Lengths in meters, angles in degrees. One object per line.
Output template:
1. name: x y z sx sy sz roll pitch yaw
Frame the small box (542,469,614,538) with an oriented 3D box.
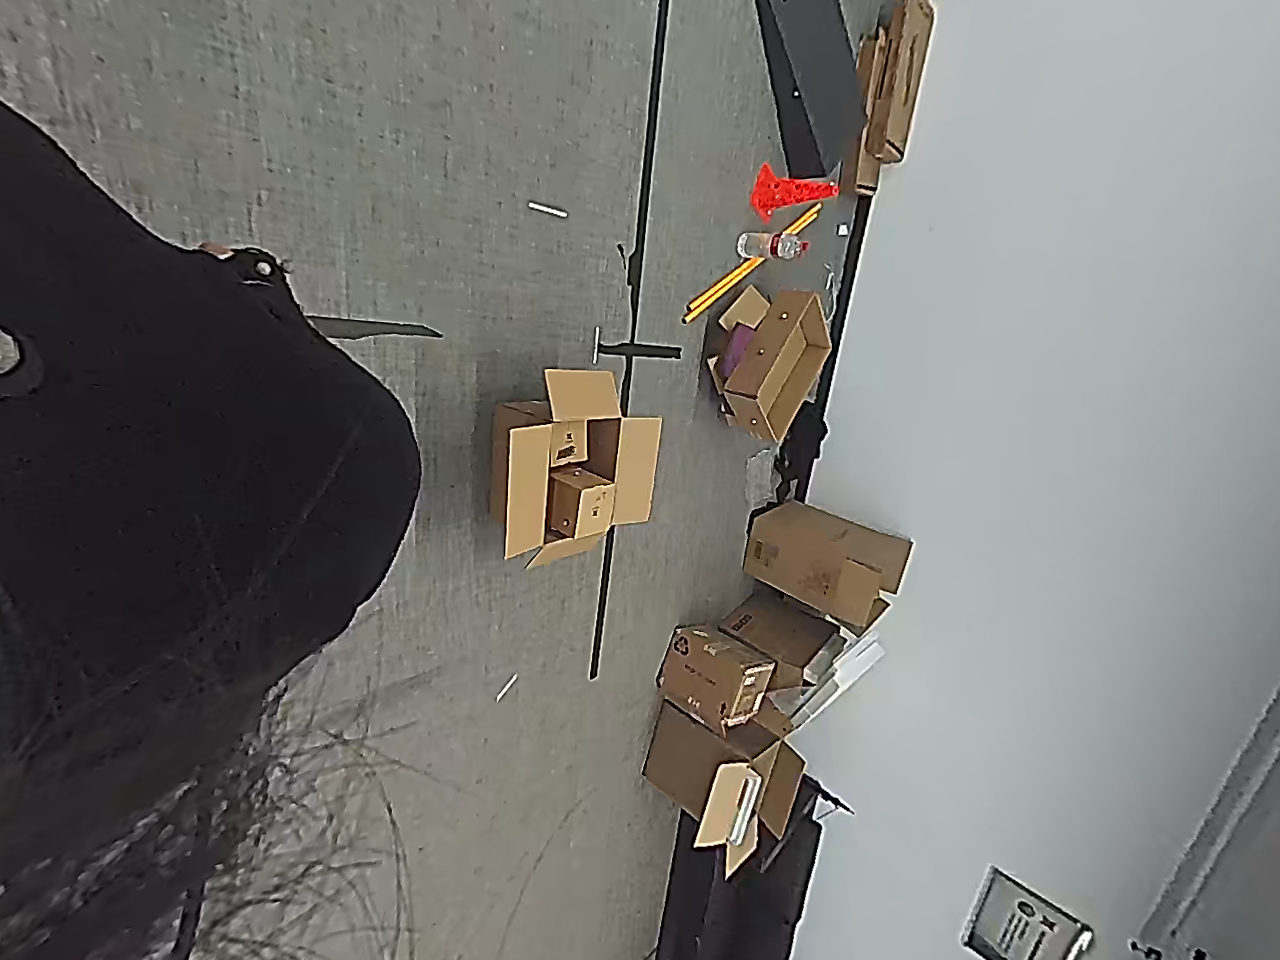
1. small box: -0.213 0.076 1.830 0.168 0.176 0.179 -10 115 -49
